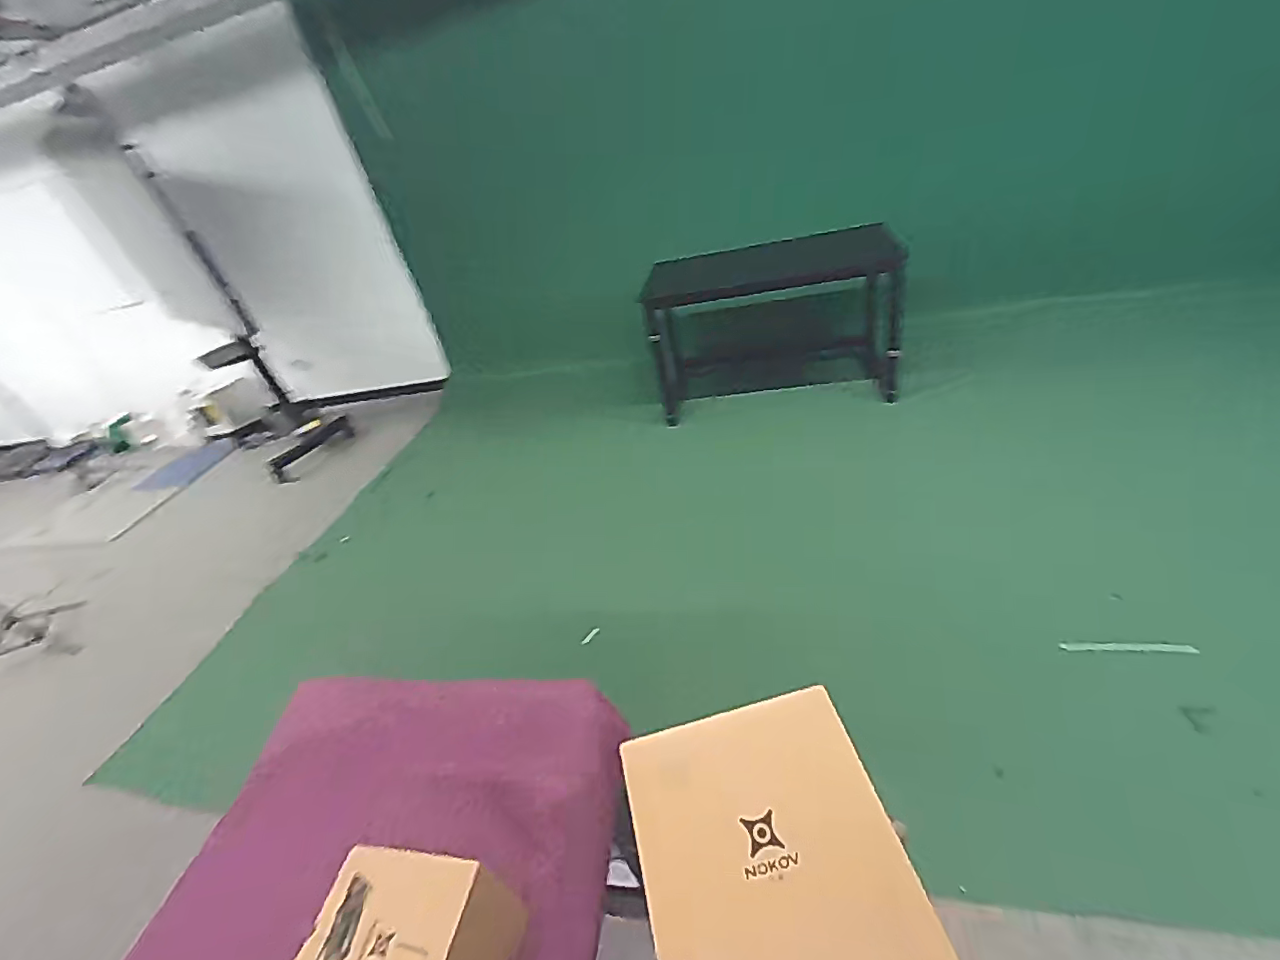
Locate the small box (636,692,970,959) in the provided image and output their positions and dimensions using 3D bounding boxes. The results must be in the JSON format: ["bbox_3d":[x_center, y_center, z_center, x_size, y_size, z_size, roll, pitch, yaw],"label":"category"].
[{"bbox_3d":[0.101,0.295,0.402,0.168,0.176,0.179,-15,42,-2],"label":"small box"}]

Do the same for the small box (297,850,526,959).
[{"bbox_3d":[-0.255,0.546,0.603,0.179,0.176,0.168,-4,36,15],"label":"small box"}]
